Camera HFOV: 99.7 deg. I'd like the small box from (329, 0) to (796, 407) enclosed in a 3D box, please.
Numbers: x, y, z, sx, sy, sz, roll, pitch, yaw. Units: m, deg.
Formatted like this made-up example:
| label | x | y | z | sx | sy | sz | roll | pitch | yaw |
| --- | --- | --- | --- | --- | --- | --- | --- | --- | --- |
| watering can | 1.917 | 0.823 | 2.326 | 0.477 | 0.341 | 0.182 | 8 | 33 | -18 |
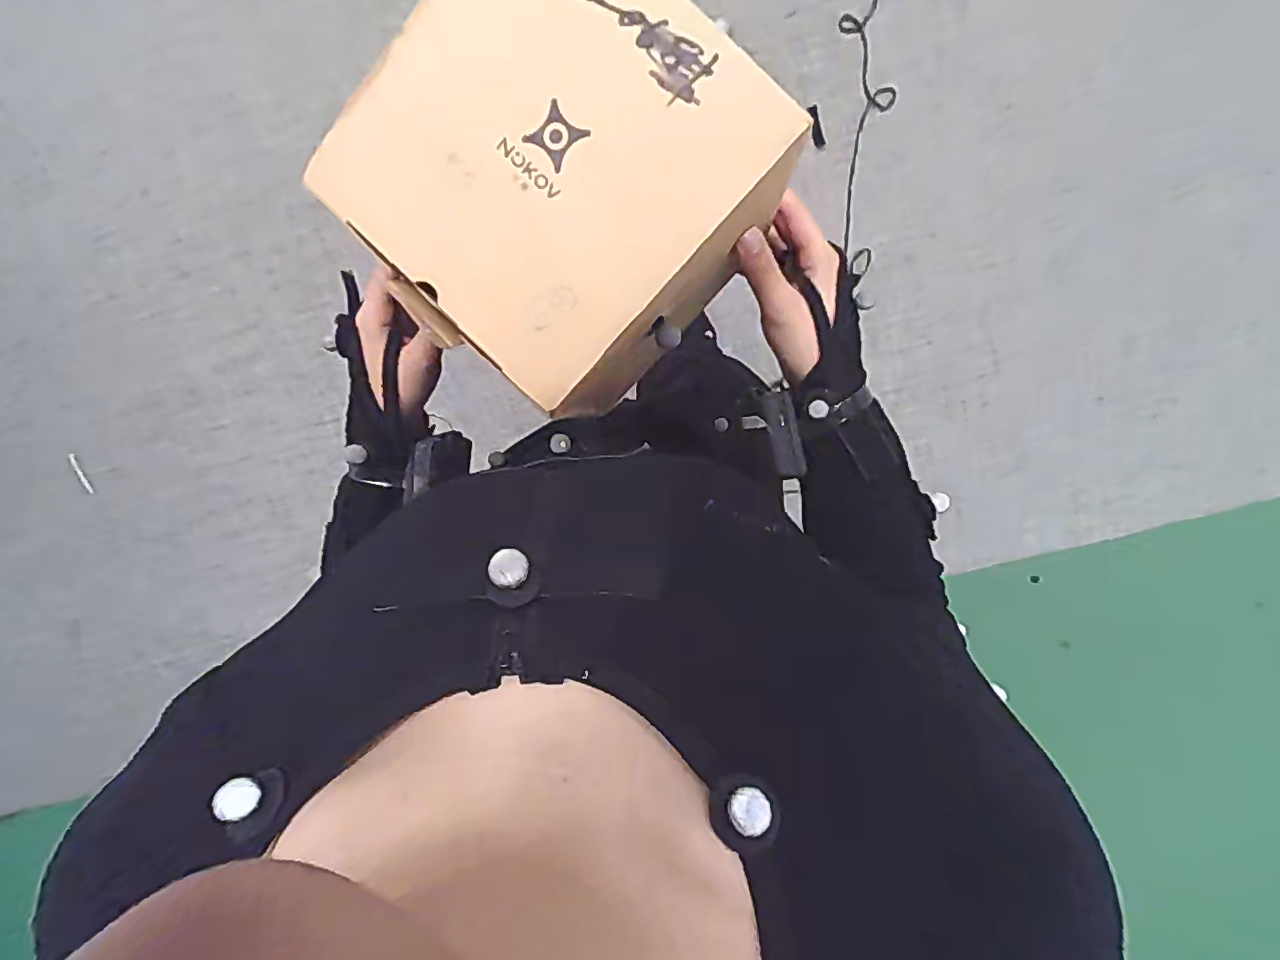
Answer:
| label | x | y | z | sx | sy | sz | roll | pitch | yaw |
| --- | --- | --- | --- | --- | --- | --- | --- | --- | --- |
| small box | -0.033 | -0.161 | 0.337 | 0.168 | 0.176 | 0.179 | 43 | 99 | -1 |
